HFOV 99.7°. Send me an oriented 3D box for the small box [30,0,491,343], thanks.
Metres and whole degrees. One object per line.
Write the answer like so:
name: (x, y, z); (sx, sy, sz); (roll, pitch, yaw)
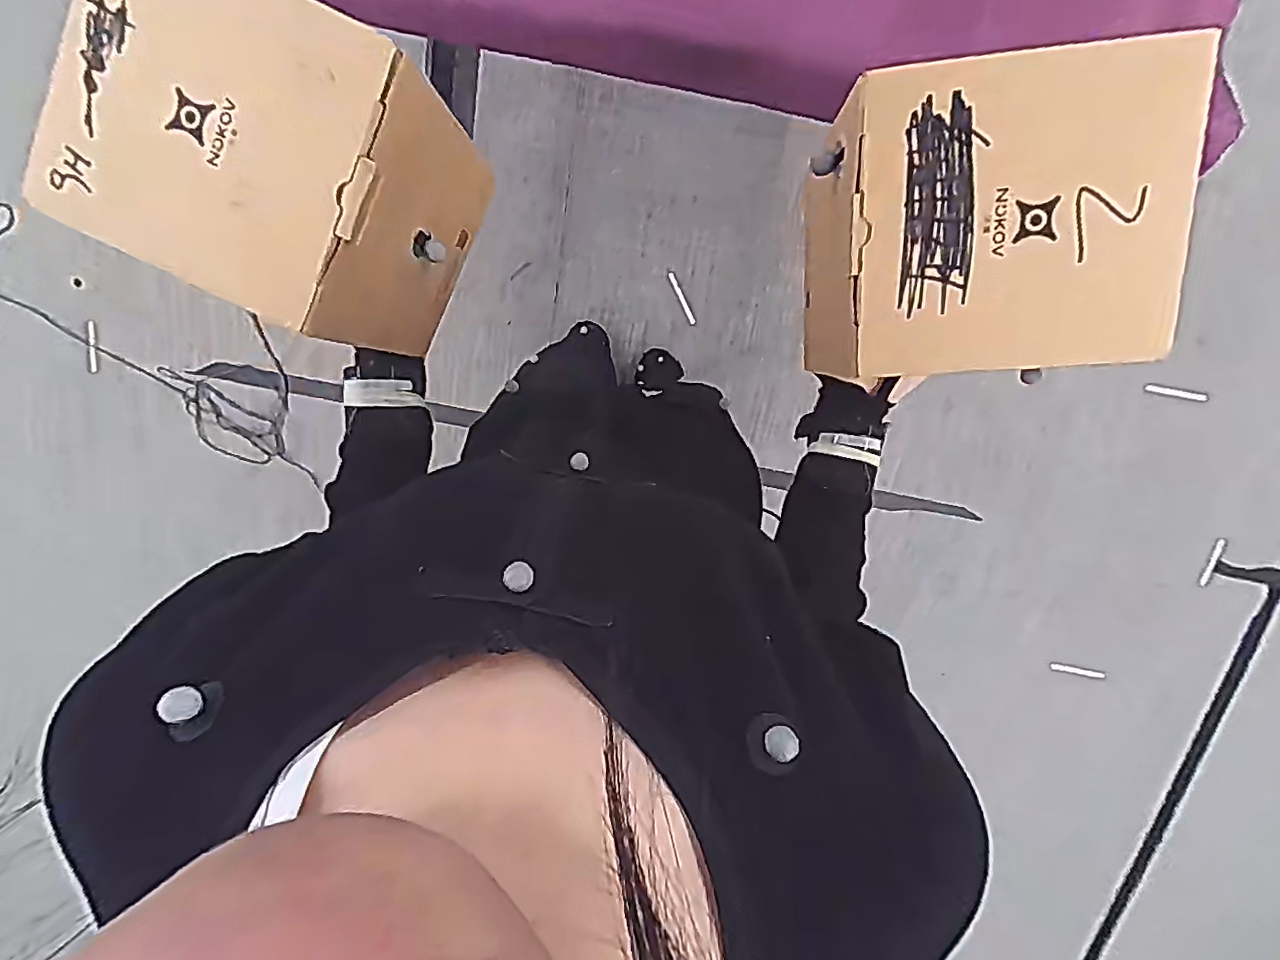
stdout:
small box: (-0.227, -0.206, 0.373); (0.179, 0.176, 0.168); (26, 99, -3)
